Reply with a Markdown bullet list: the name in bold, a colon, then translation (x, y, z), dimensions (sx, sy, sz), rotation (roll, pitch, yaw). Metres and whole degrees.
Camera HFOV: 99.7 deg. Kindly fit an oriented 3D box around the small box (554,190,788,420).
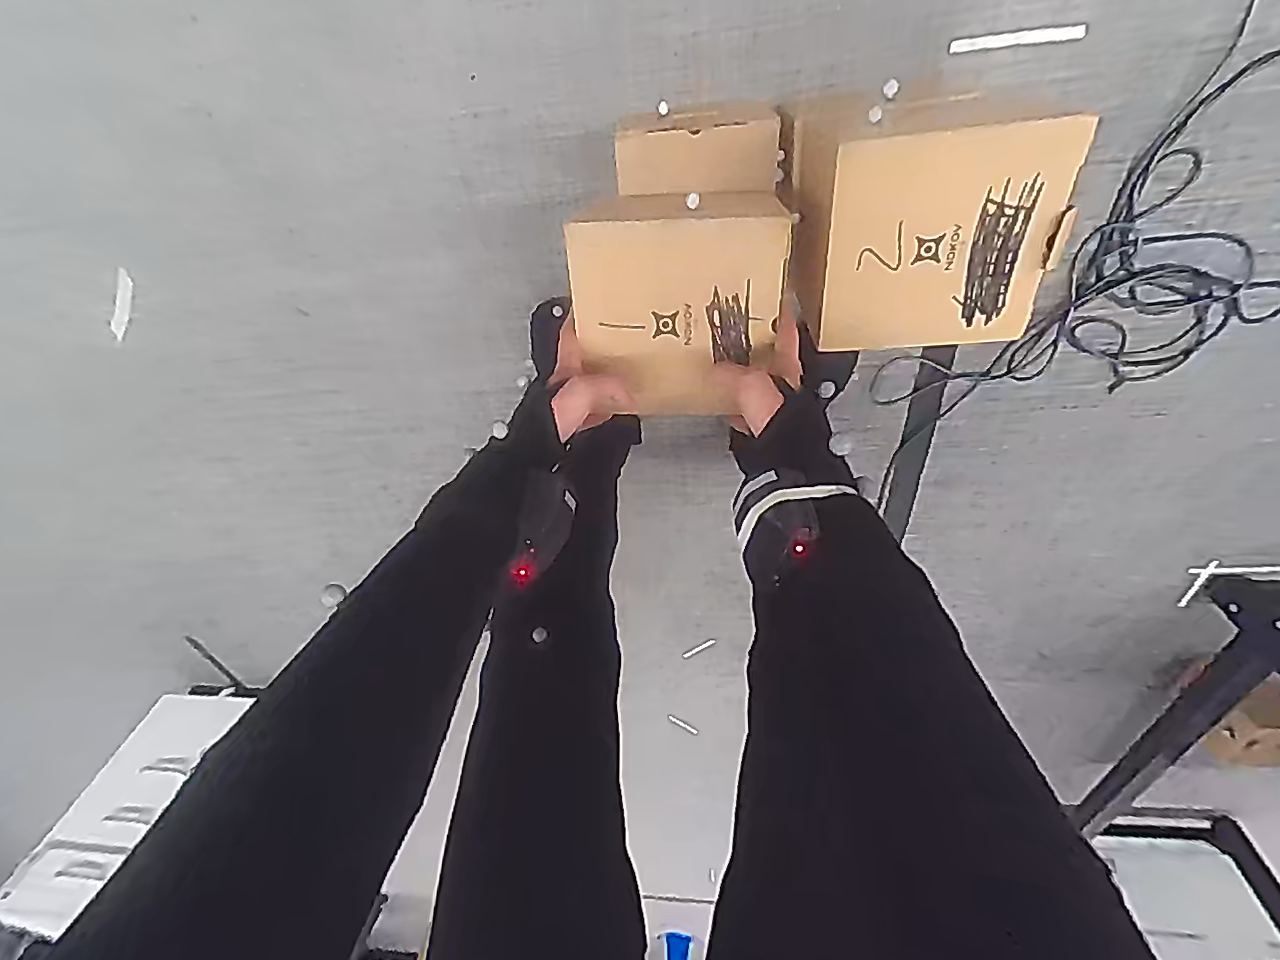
- **small box**: translation (0.034, -0.168, 0.505), dimensions (0.179, 0.176, 0.168), rotation (2, 124, 8)
